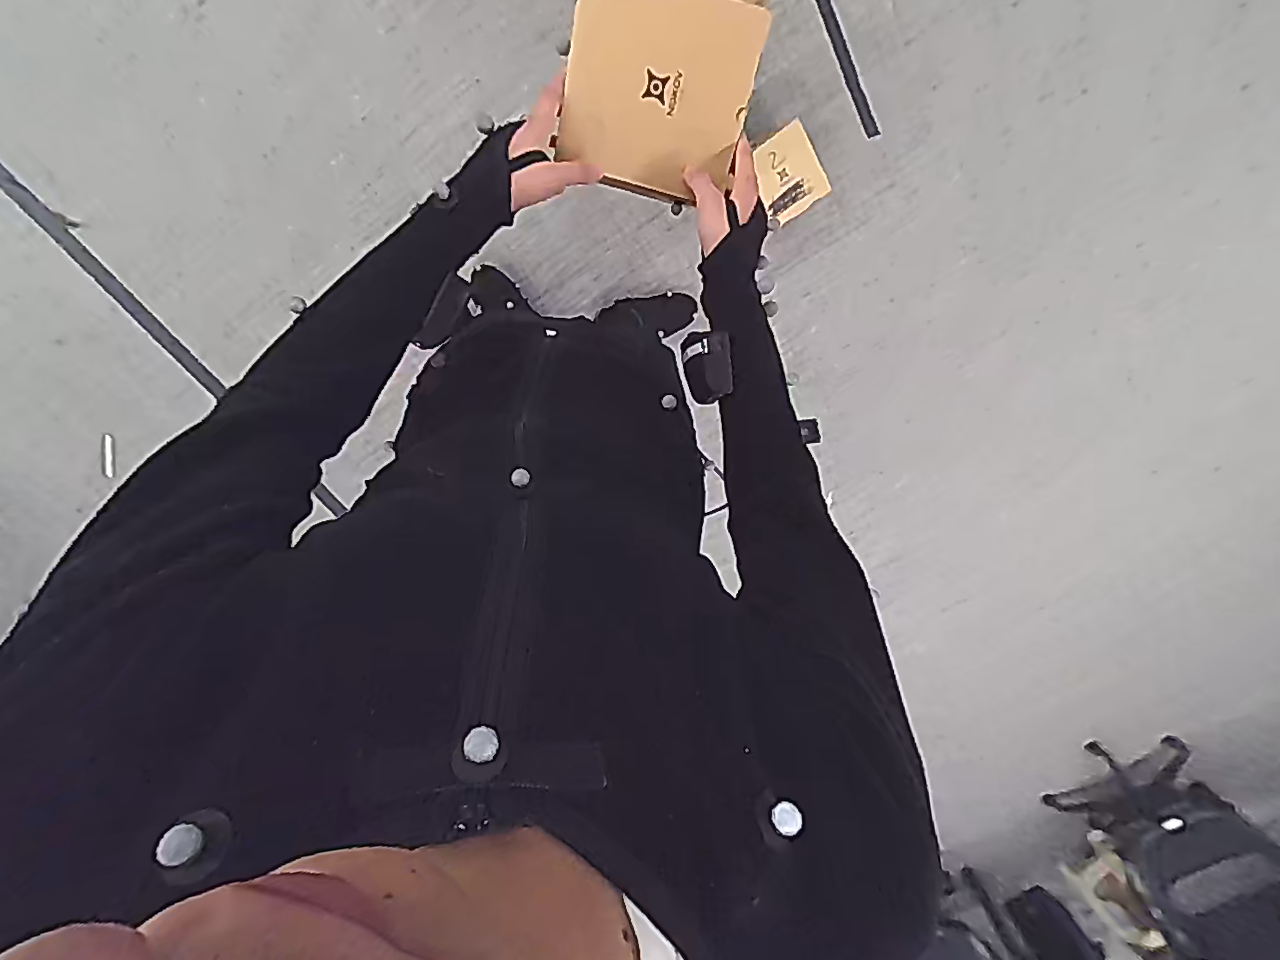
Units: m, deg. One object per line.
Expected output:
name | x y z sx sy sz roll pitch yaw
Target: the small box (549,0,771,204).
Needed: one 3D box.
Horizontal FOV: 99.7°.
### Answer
small box | 0.005 -0.399 0.566 0.179 0.176 0.168 8 116 -13
